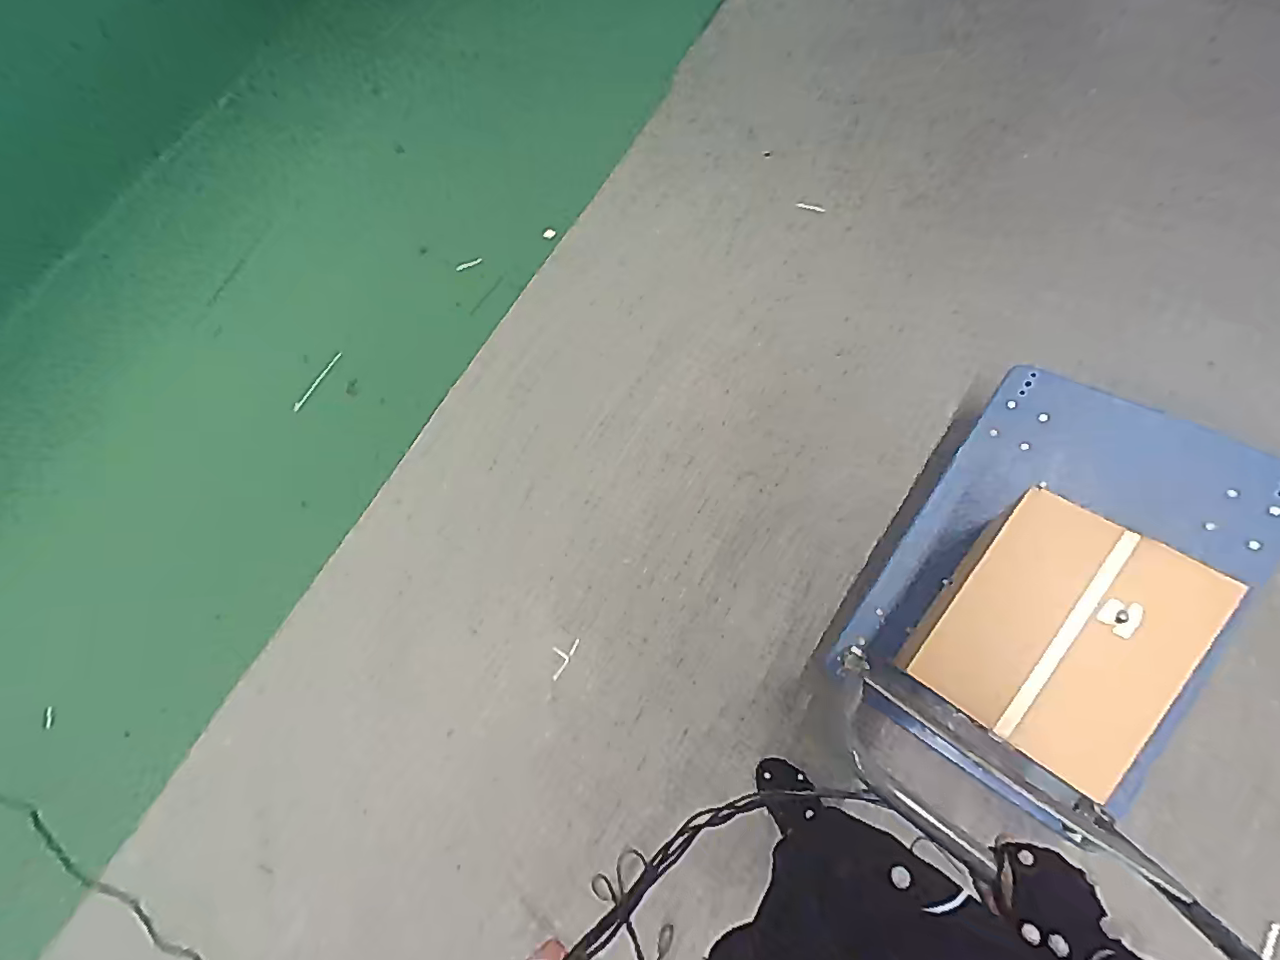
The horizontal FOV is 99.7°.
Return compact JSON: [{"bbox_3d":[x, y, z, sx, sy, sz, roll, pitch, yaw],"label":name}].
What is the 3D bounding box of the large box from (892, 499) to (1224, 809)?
[{"bbox_3d":[0.736,0.313,1.030,0.320,0.320,0.408,35,87,26],"label":"large box"}]
